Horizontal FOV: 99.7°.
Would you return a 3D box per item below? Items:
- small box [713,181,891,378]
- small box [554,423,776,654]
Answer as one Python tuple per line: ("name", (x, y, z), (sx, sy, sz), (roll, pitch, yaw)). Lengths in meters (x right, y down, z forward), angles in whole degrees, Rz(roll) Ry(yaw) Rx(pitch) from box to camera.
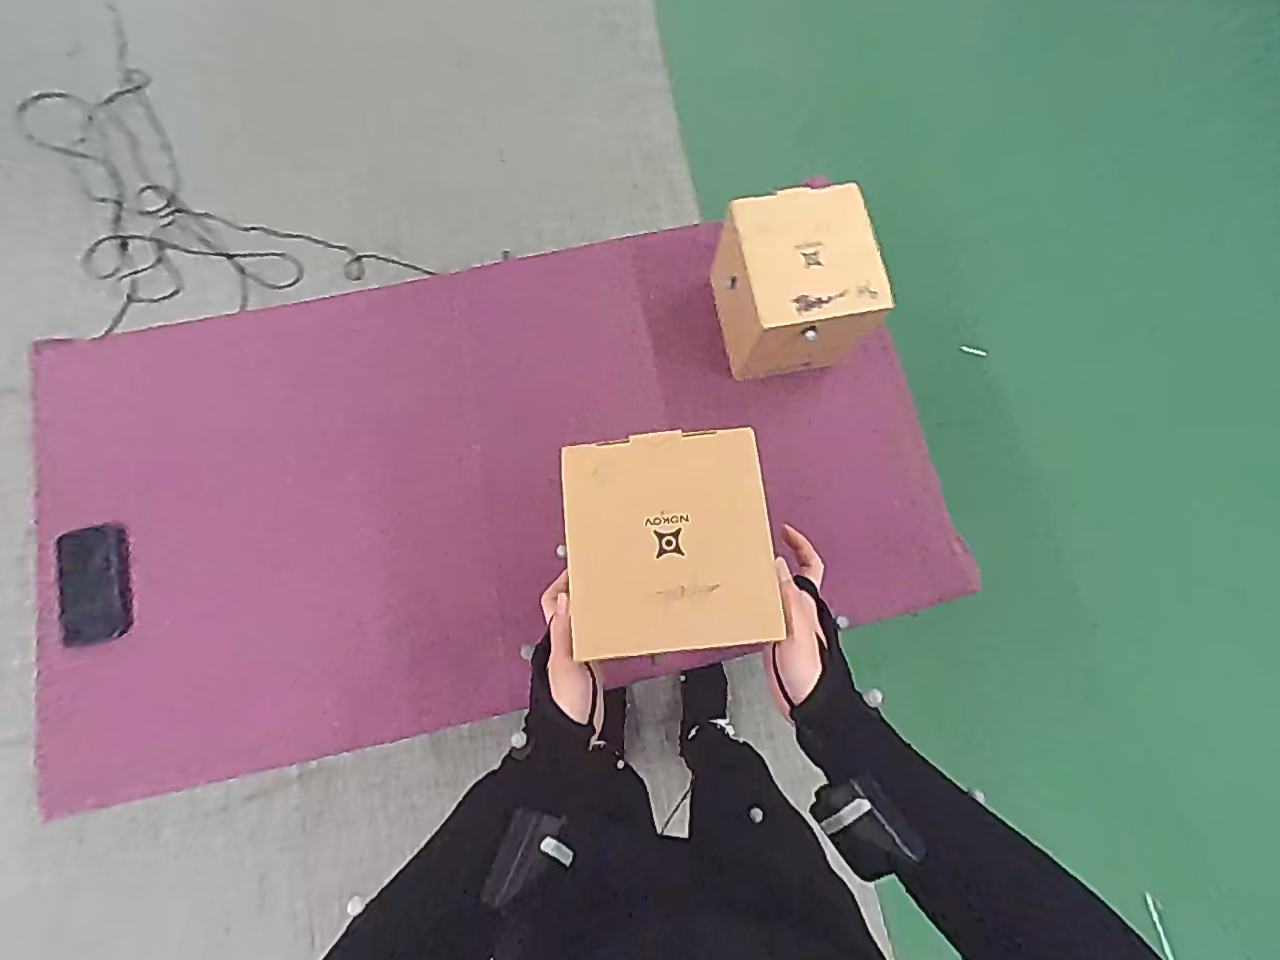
("small box", (0.202, -0.260, 0.731), (0.168, 0.176, 0.179), (-11, 79, -2))
("small box", (0.018, 0.062, 0.509), (0.168, 0.176, 0.179), (-6, 76, 1))
